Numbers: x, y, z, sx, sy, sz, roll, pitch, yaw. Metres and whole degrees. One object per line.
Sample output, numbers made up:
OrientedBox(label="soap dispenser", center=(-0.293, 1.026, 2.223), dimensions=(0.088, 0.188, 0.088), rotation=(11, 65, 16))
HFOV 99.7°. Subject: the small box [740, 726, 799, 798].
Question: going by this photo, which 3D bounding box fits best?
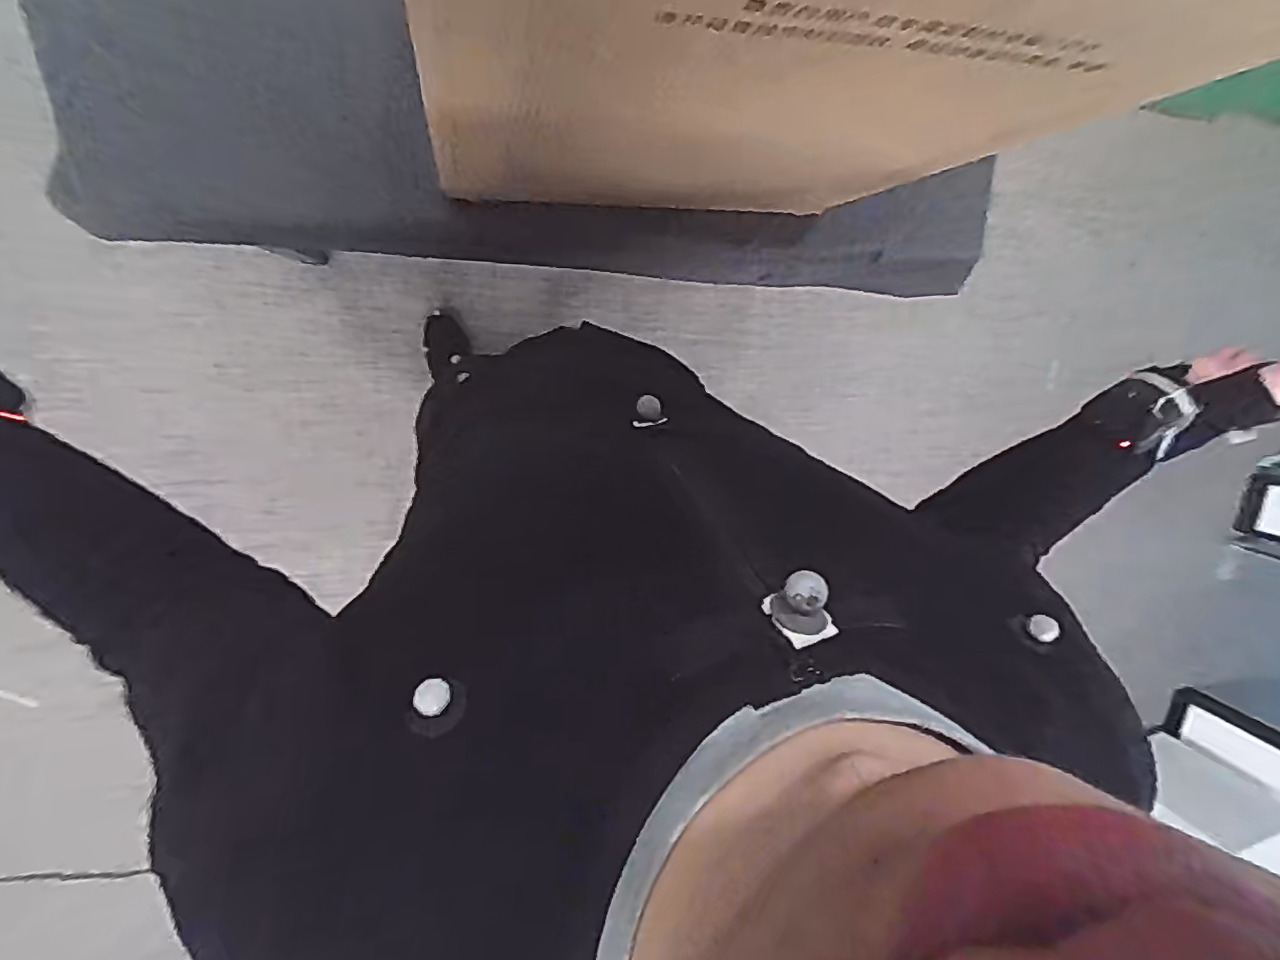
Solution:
OrientedBox(label="small box", center=(0.494, 1.069, 2.057), dimensions=(0.168, 0.176, 0.179), rotation=(-16, 113, -11))
